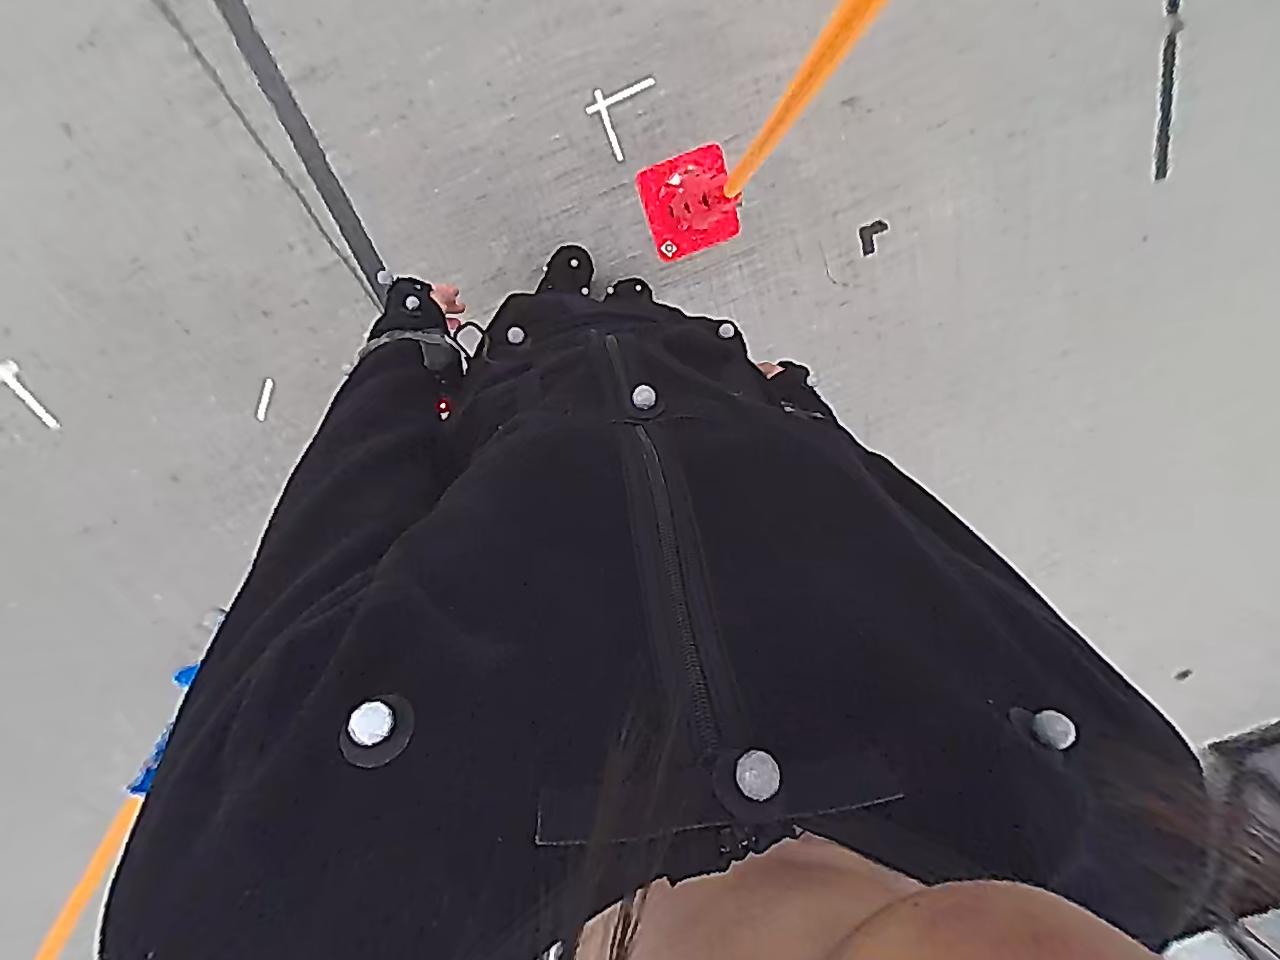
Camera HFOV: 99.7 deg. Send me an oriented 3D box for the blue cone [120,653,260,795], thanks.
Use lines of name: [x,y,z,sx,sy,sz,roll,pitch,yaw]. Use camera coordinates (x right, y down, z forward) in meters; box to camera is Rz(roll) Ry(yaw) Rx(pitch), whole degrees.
blue cone: [-1.231,0.669,1.452,0.193,0.380,0.192,-18,114,1]
